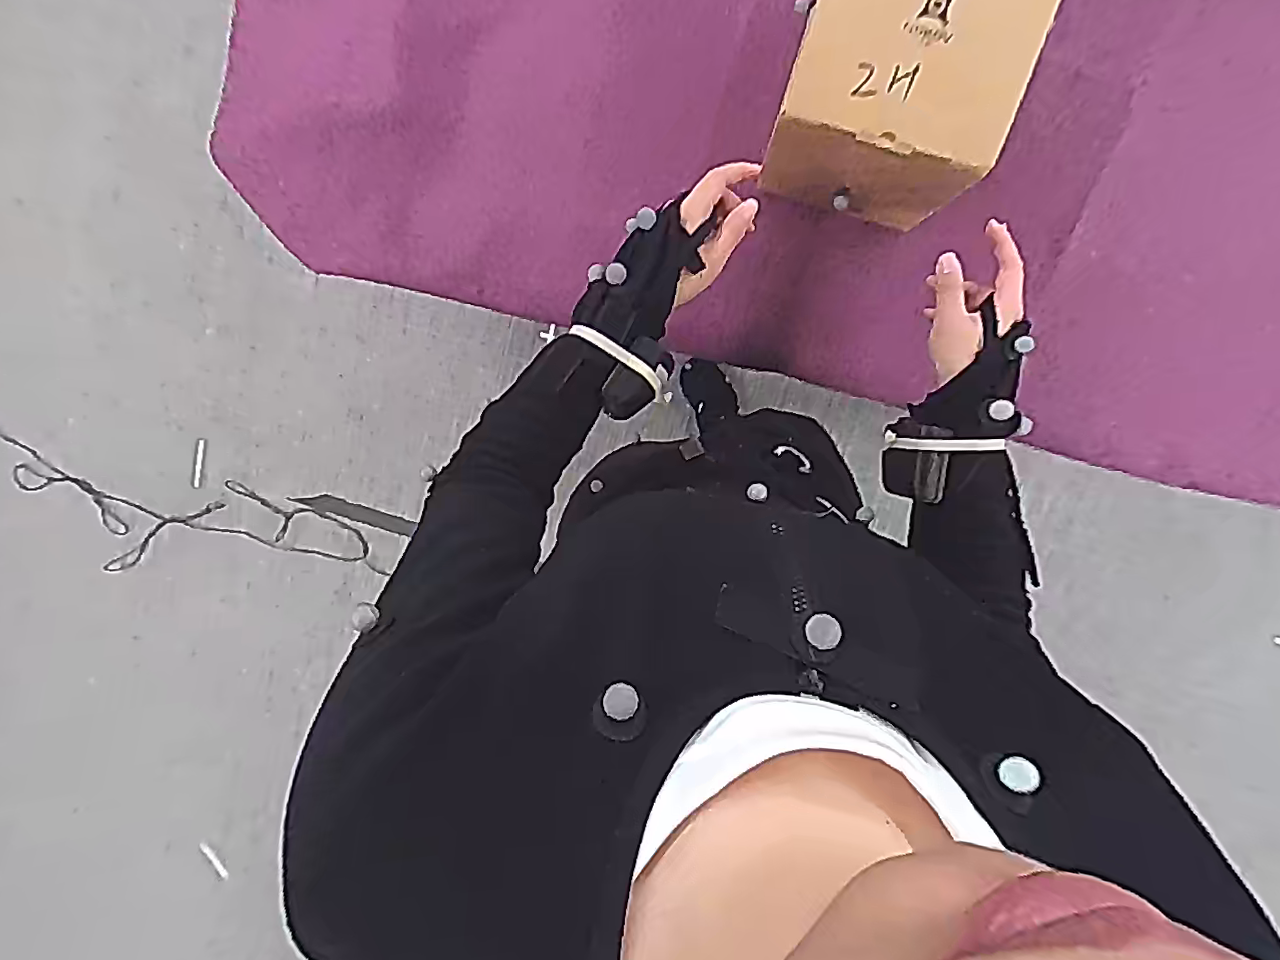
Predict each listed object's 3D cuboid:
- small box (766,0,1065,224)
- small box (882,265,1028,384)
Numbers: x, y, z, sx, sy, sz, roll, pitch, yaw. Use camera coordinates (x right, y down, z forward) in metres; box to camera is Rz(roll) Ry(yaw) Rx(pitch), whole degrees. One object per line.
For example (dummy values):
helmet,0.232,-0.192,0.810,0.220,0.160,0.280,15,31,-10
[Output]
small box,0.218,-0.350,0.462,0.168,0.176,0.179,18,102,2
small box,0.602,-0.297,1.064,0.168,0.176,0.179,17,101,3
